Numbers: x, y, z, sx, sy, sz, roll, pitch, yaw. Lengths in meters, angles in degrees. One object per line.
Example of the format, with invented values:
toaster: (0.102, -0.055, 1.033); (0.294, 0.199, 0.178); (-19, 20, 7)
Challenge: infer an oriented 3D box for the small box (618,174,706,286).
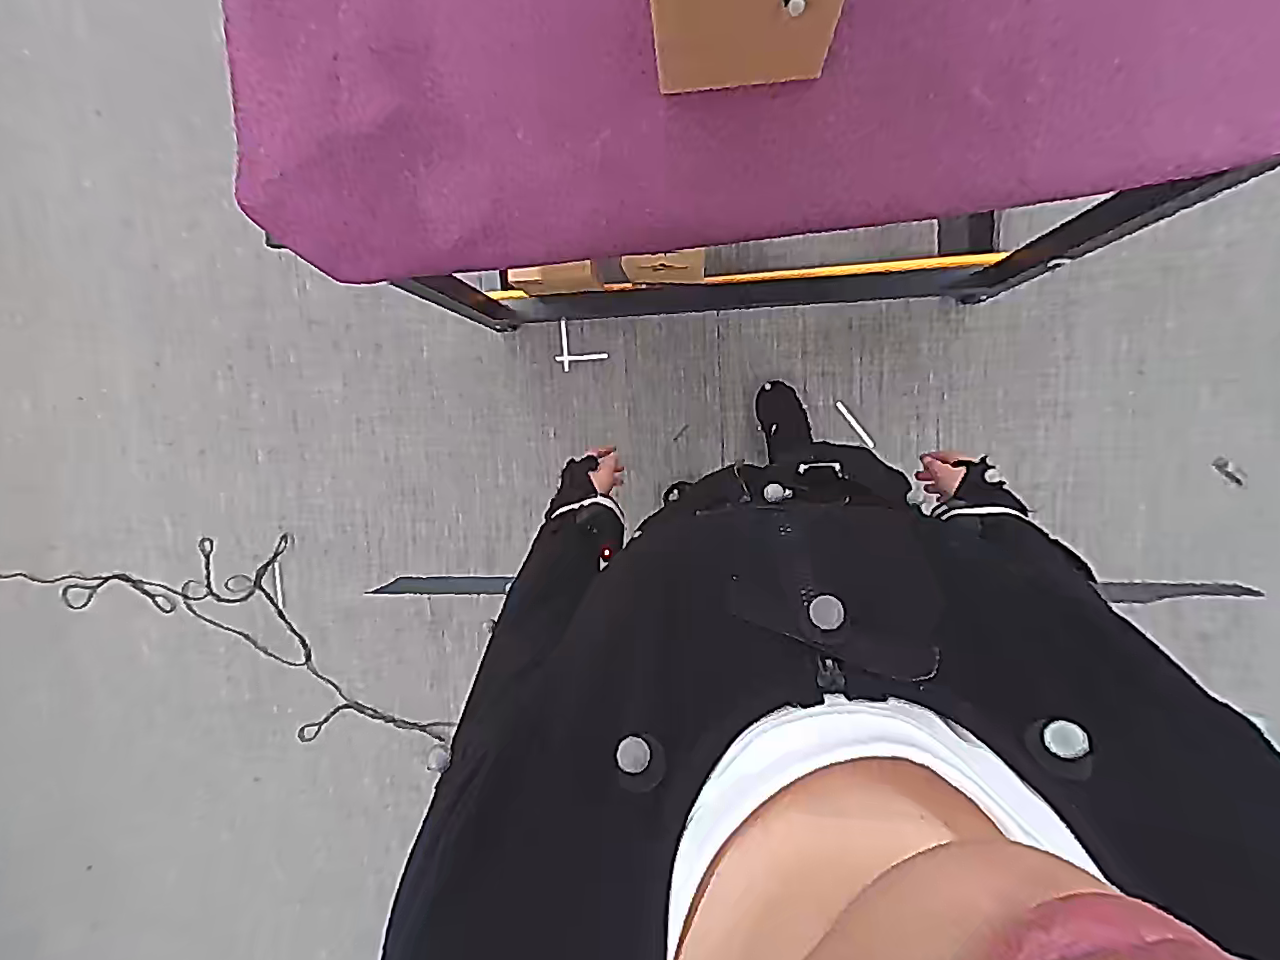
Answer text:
small box: (0.050, -0.517, 1.139); (0.168, 0.176, 0.179); (4, 97, 5)

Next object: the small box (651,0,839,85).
small box: (0.098, -0.513, 0.508); (0.179, 0.176, 0.168); (-2, 94, 6)
